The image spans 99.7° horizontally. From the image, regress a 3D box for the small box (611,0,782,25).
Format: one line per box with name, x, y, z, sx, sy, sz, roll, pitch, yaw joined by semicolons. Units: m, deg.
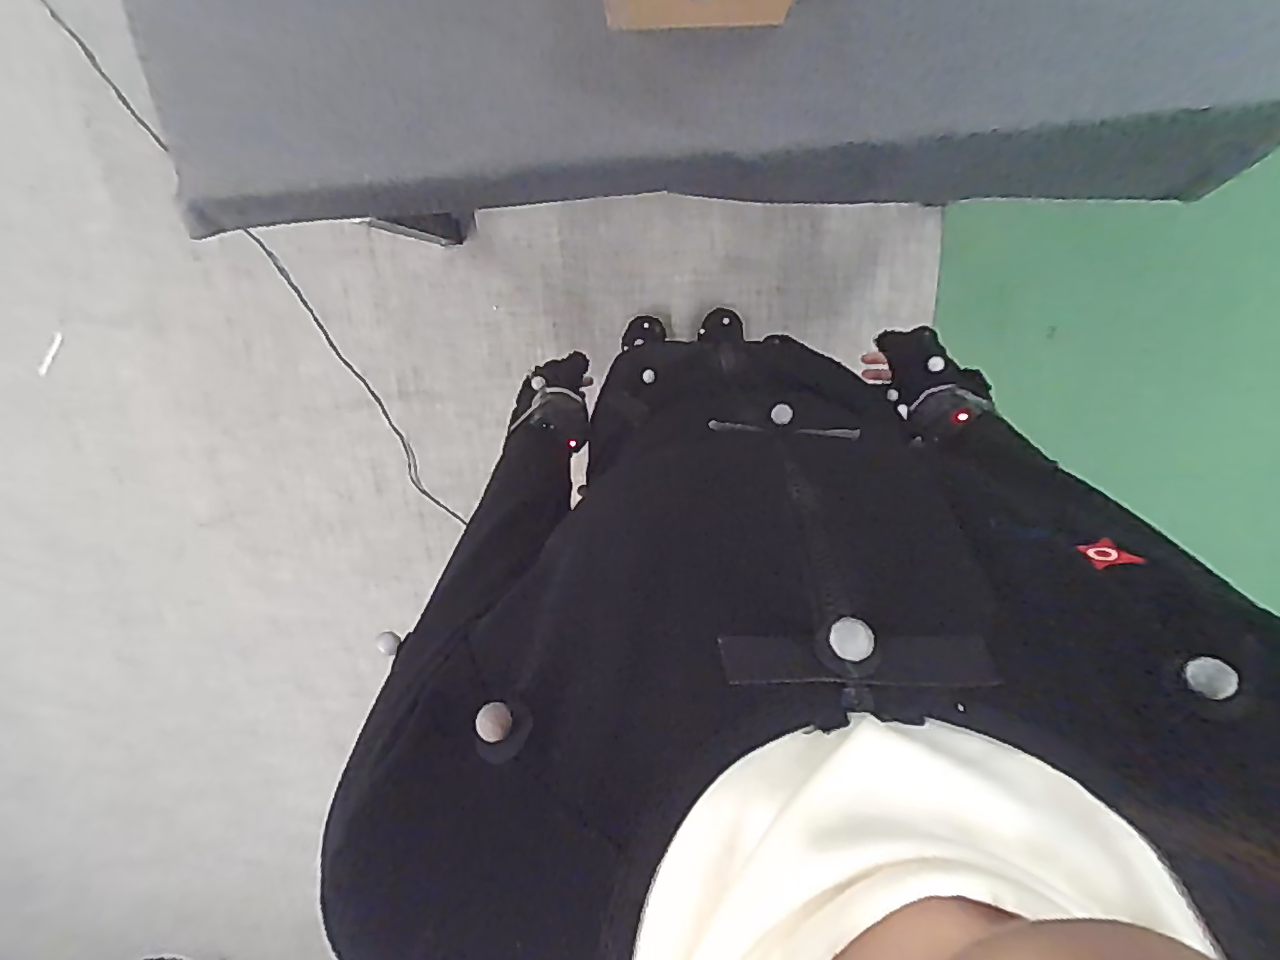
small box;0.055;-0.509;0.439;0.179;0.176;0.168;-1;108;3
